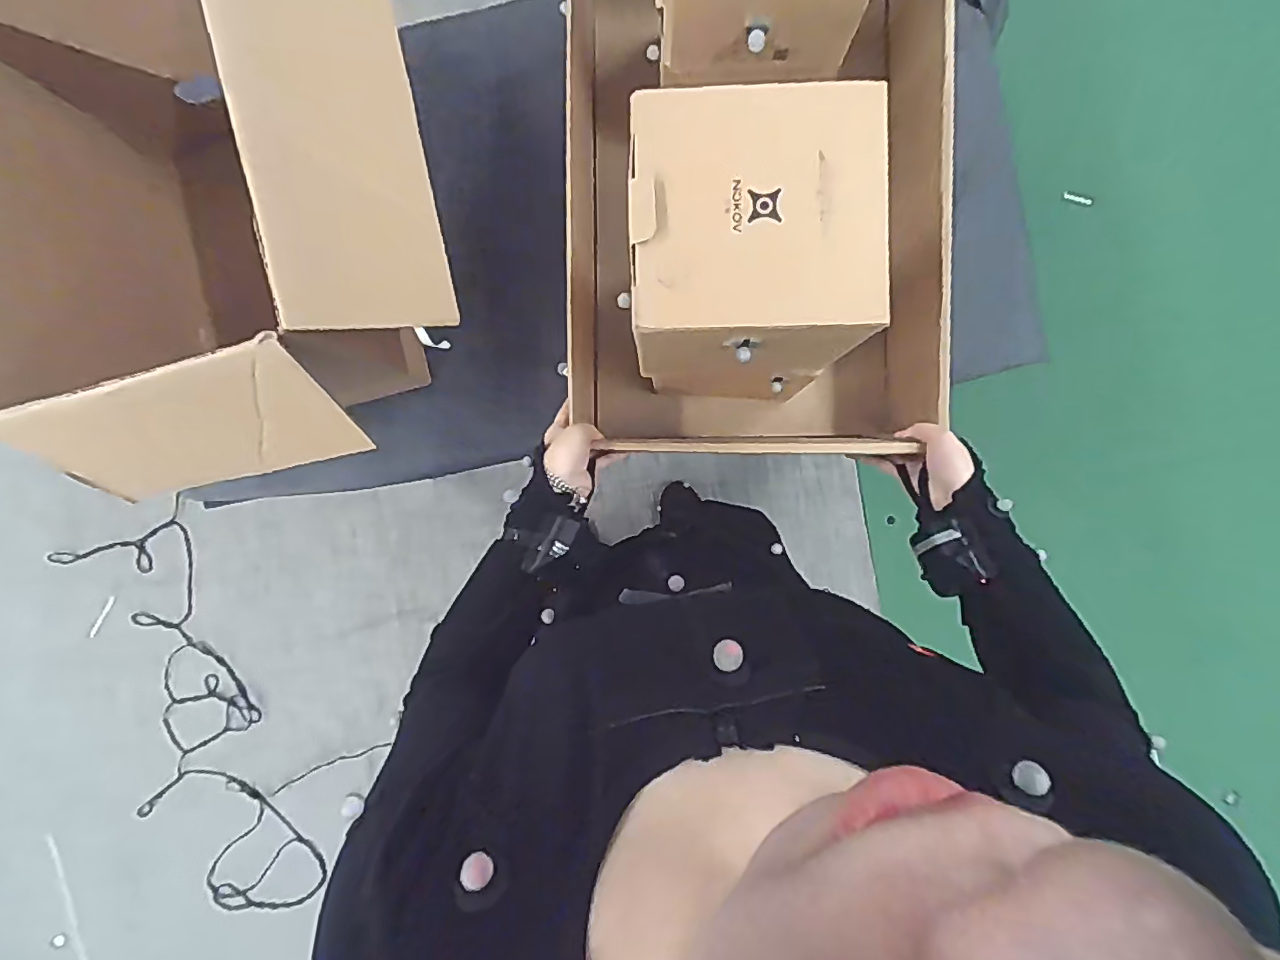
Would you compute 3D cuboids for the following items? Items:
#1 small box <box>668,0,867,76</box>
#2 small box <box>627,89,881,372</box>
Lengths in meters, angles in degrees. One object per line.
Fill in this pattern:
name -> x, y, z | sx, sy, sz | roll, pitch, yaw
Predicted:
small box -> 0.108, -0.479, 0.444 | 0.168, 0.176, 0.179 | 0, 93, 2
small box -> 0.082, -0.187, 0.454 | 0.179, 0.176, 0.168 | -1, 91, 1
